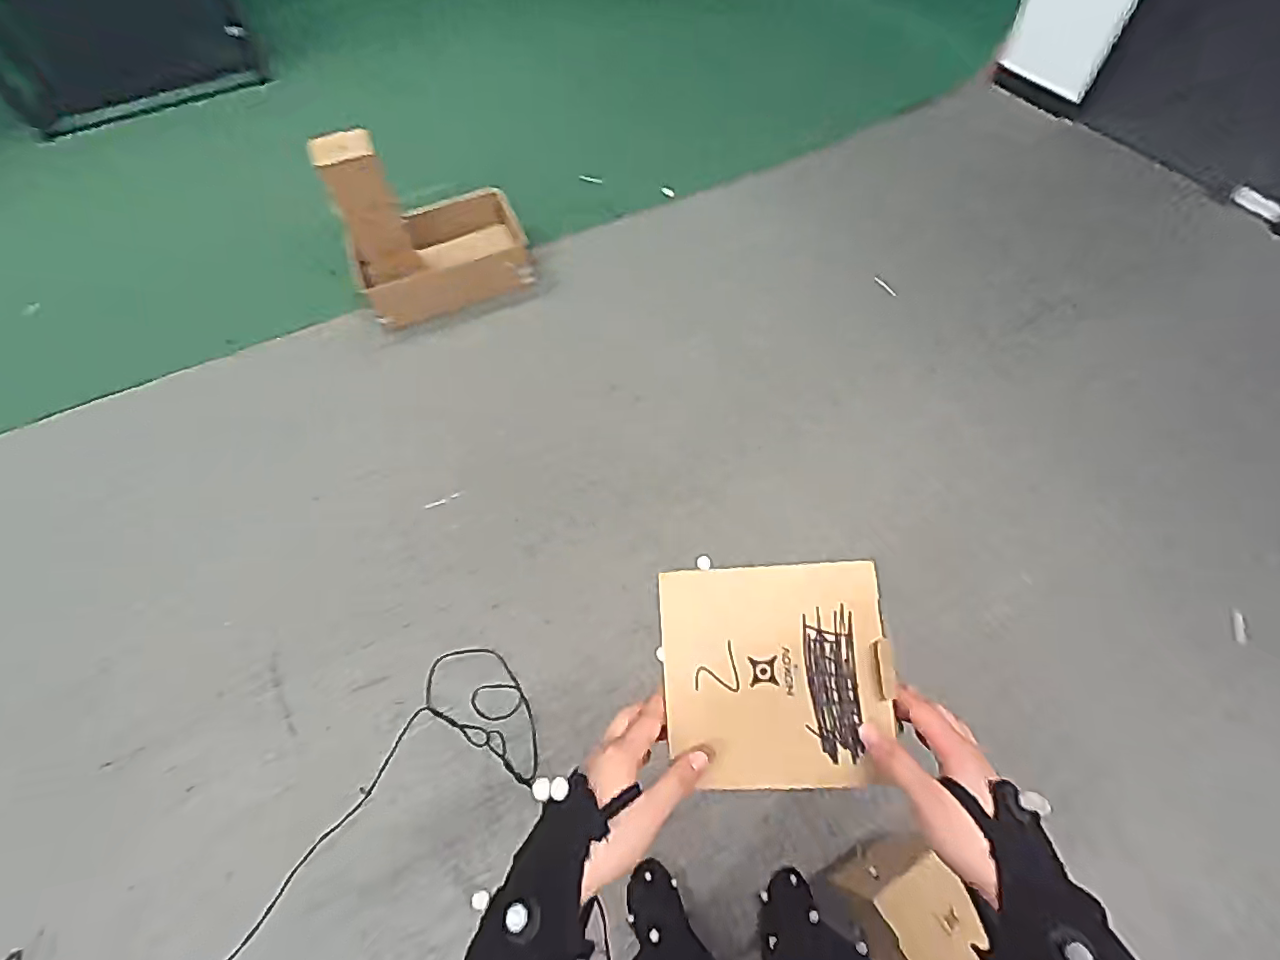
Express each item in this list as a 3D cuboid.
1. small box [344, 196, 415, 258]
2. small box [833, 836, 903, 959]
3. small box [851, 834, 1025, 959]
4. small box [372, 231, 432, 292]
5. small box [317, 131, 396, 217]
[{"bbox_3d":[-0.927,-0.919,1.920,0.179,0.176,0.168,-21,62,-11],"label":"small box"},{"bbox_3d":[0.501,0.829,1.056,0.179,0.176,0.168,-26,62,-11],"label":"small box"},{"bbox_3d":[0.487,0.738,0.920,0.179,0.176,0.168,-27,63,-14],"label":"small box"},{"bbox_3d":[-0.919,-0.845,2.067,0.168,0.176,0.179,-22,62,-10],"label":"small box"},{"bbox_3d":[-0.923,-1.004,1.778,0.179,0.176,0.168,-22,61,-10],"label":"small box"}]
